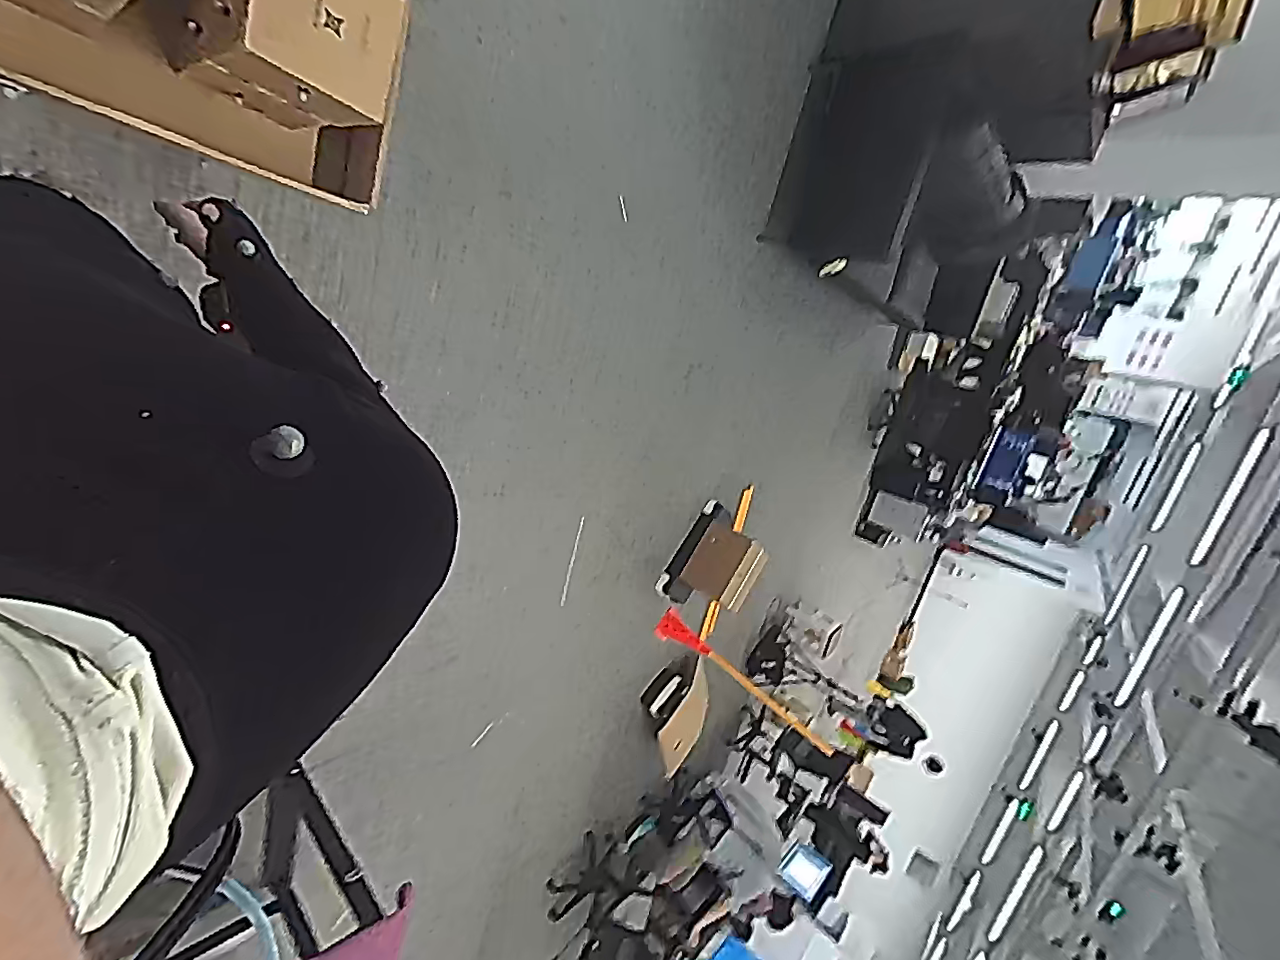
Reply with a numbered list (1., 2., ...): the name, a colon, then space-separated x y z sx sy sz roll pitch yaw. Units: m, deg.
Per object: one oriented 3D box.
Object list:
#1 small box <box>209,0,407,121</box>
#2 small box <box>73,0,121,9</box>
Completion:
1. small box: -0.460 -0.623 0.745 0.179 0.176 0.168 3 109 -53
2. small box: -0.618 -0.625 0.536 0.168 0.176 0.179 1 109 -53
